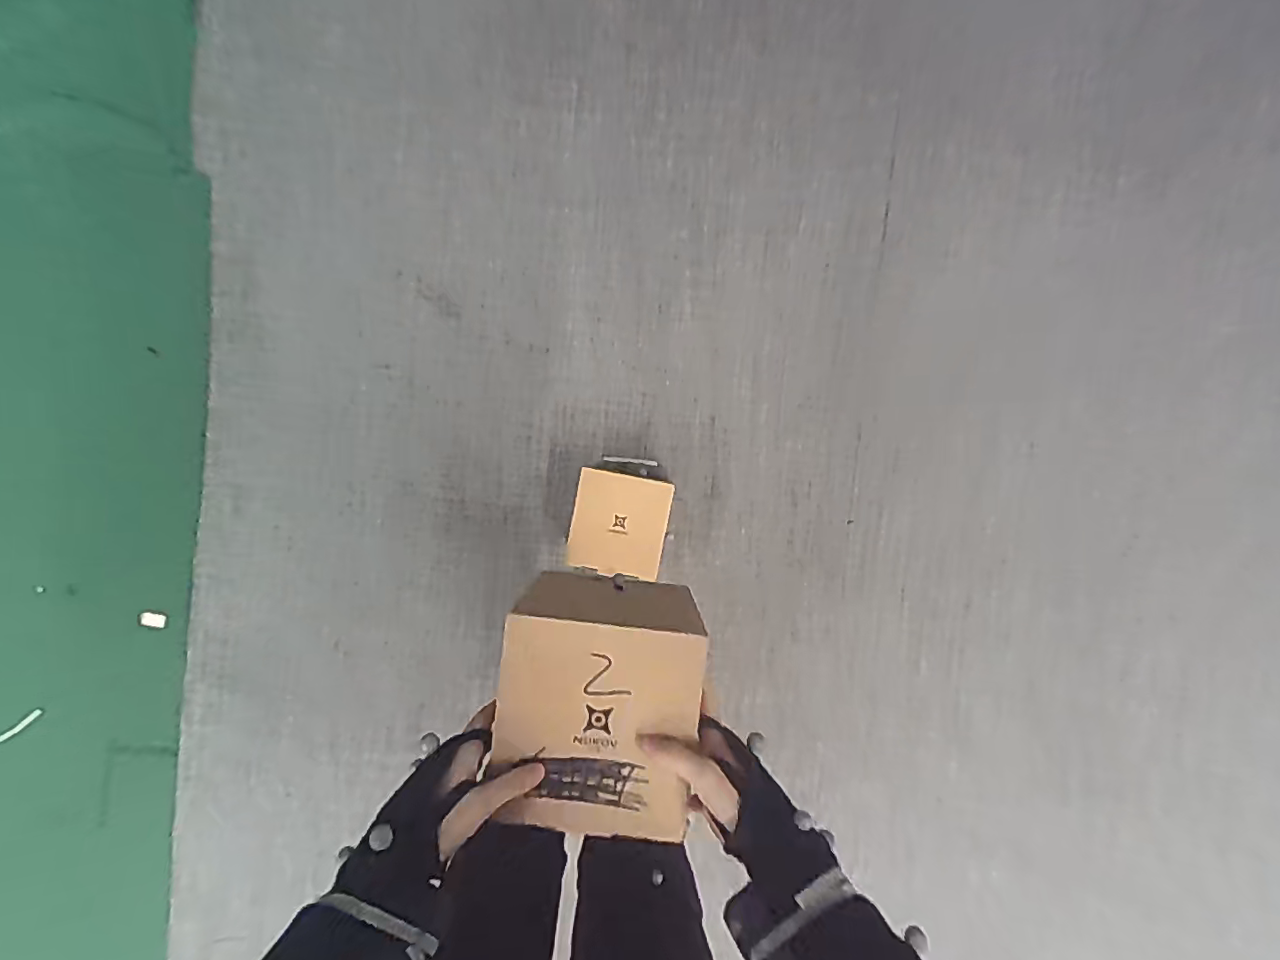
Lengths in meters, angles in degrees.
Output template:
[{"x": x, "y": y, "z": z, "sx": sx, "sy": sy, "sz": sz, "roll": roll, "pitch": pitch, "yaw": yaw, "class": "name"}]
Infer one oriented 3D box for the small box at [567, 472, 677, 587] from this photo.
[{"x": -0.032, "y": 0.083, "z": 1.019, "sx": 0.168, "sy": 0.176, "sz": 0.179, "roll": 11, "pitch": 93, "yaw": 0, "class": "small box"}]
